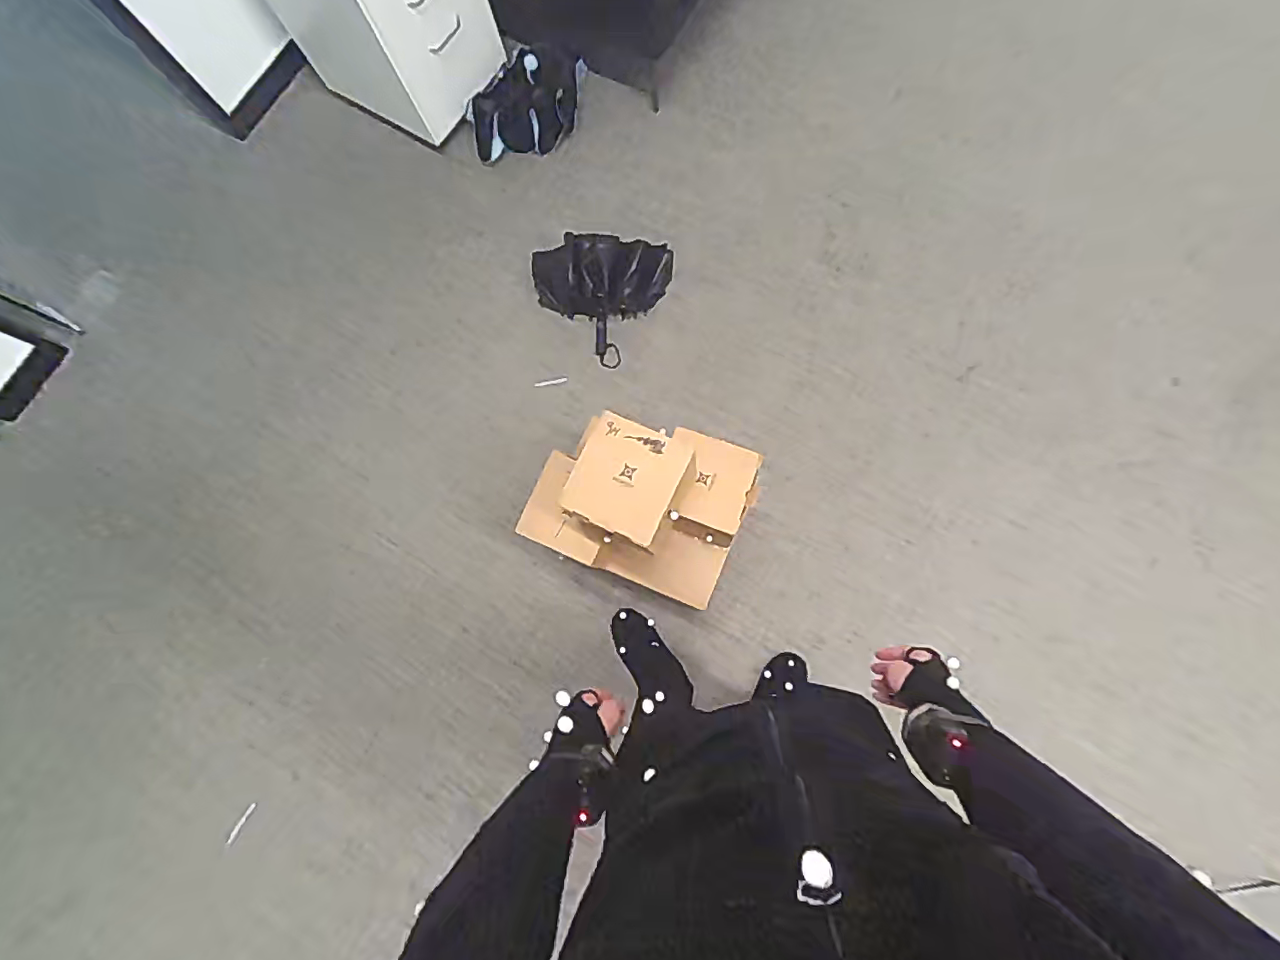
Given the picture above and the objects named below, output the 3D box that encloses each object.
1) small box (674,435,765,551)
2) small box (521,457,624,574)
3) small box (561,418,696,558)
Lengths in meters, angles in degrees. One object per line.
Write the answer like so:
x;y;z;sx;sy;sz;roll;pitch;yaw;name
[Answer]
0.135;0.034;1.086;0.179;0.176;0.168;19;76;12;small box
-0.111;0.079;1.101;0.168;0.176;0.179;23;83;11;small box
-0.008;0.024;0.932;0.168;0.176;0.179;25;82;12;small box
